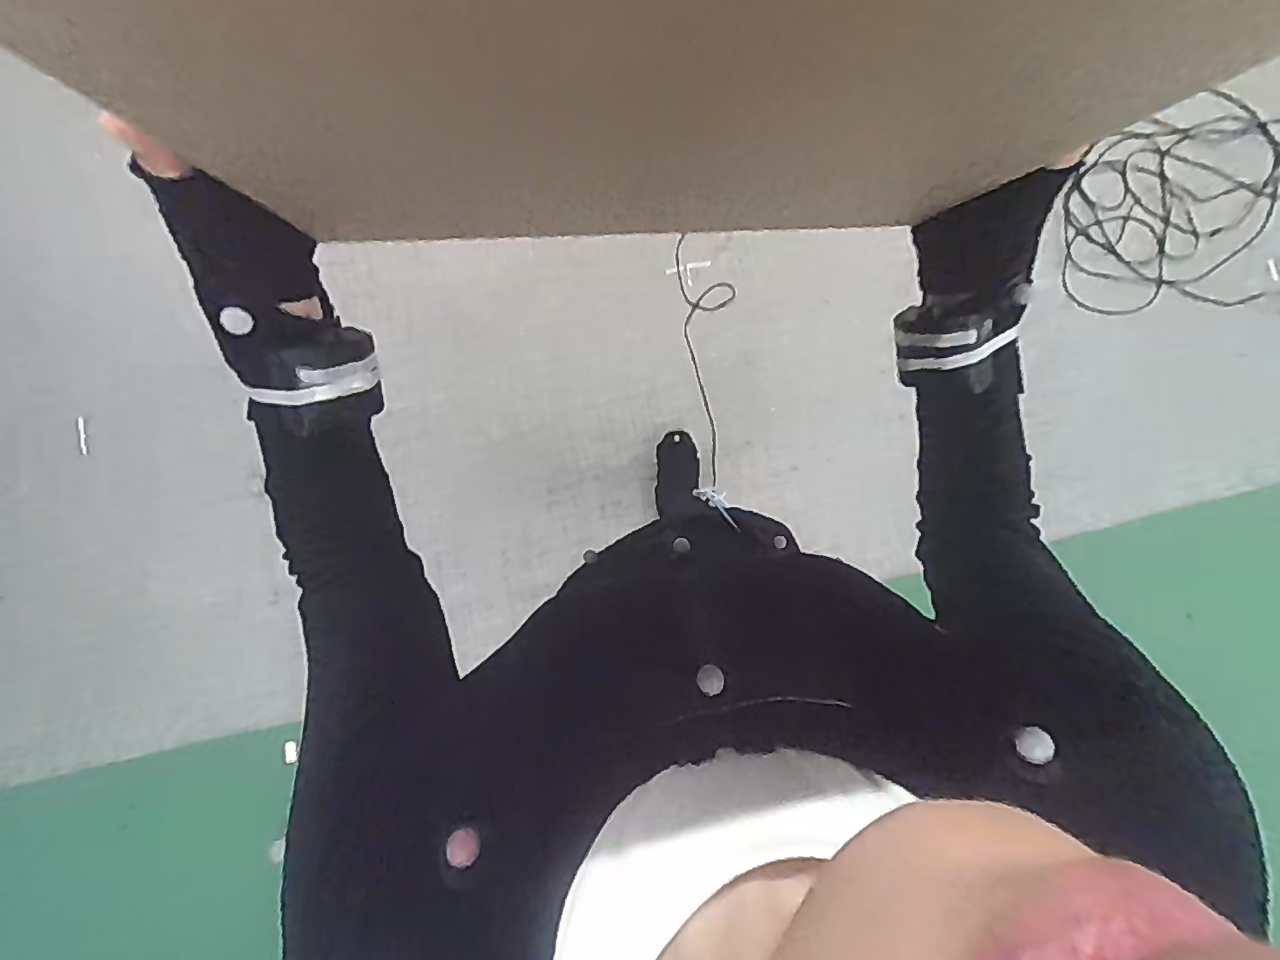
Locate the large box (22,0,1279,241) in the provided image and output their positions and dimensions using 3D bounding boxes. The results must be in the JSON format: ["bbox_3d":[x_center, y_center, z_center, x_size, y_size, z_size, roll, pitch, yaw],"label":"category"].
[{"bbox_3d":[0.015,-0.295,0.188,0.408,0.320,0.320,-6,100,-8],"label":"large box"}]
